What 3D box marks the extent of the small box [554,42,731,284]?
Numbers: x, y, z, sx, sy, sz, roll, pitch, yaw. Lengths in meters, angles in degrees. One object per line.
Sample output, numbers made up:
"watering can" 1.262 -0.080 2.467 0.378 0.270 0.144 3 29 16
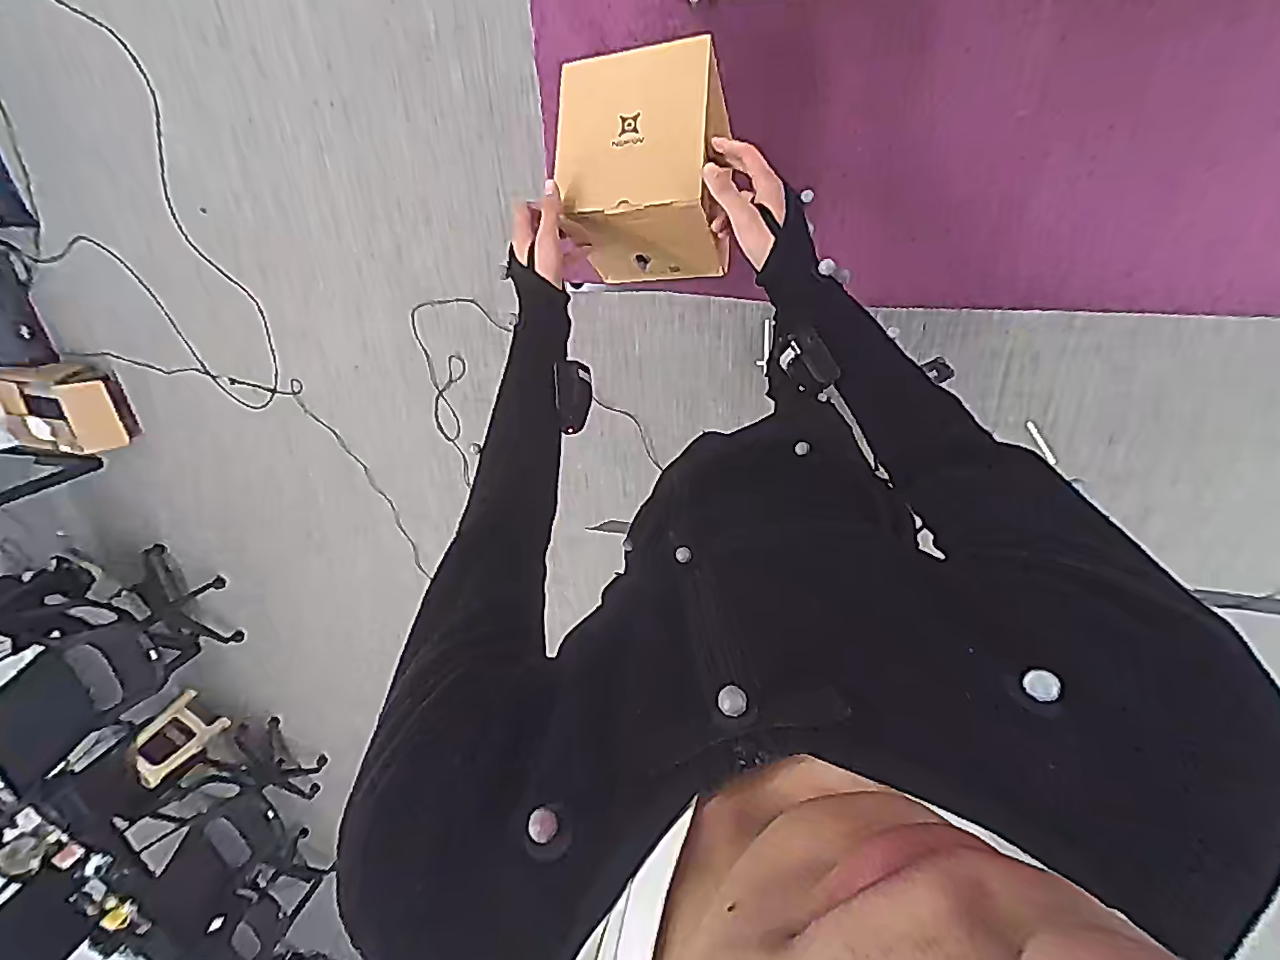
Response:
"small box" 0.014 -0.352 0.635 0.168 0.176 0.179 2 87 17
